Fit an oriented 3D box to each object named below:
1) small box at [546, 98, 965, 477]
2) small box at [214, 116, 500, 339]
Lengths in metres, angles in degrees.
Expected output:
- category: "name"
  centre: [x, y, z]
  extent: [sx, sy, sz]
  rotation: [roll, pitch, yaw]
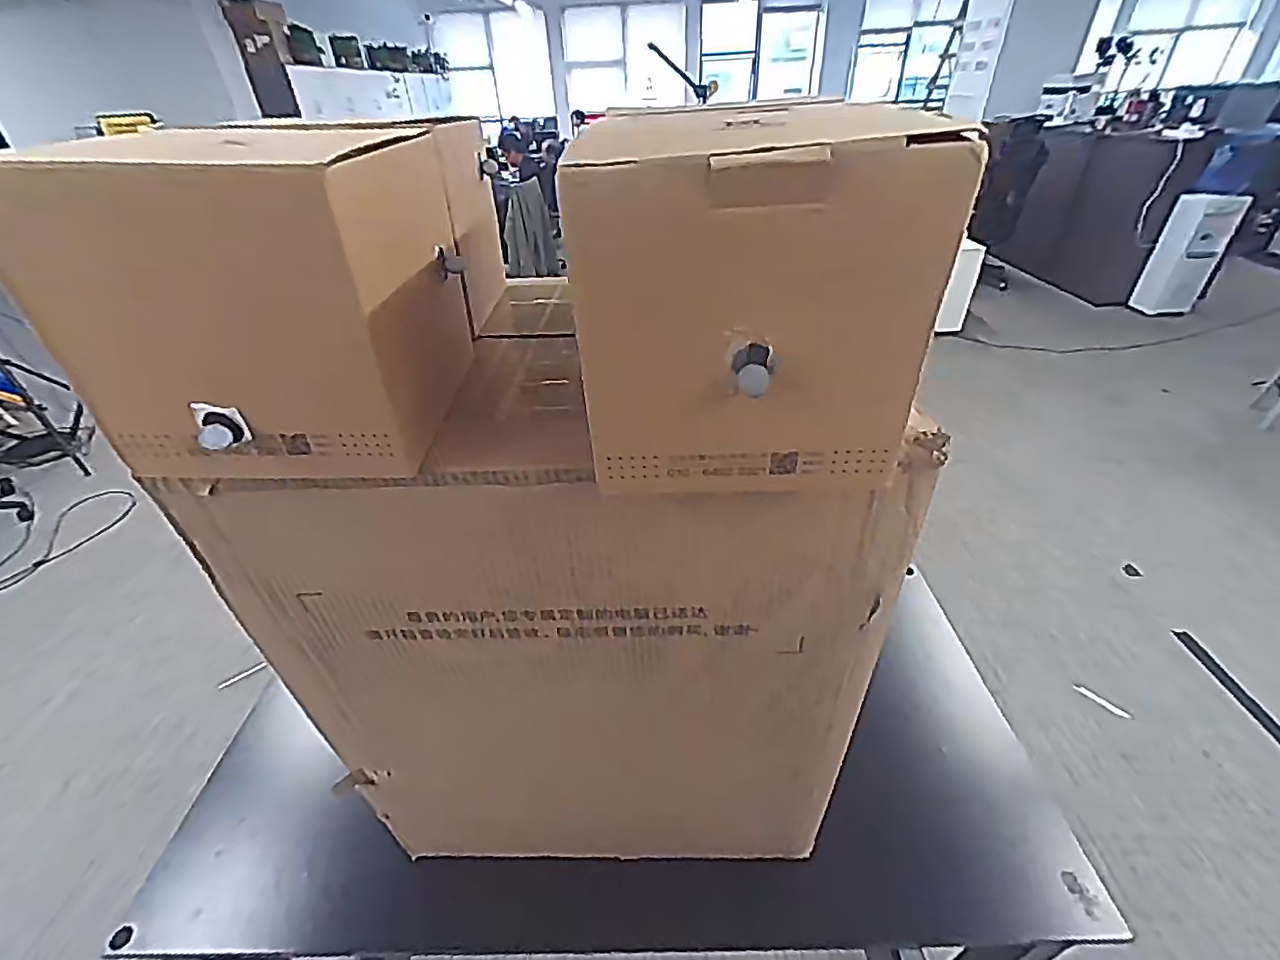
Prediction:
- category: "small box"
  centre: [0.052, -0.112, 0.322]
  extent: [0.168, 0.176, 0.179]
  rotation: [-2, 37, 4]
- category: "small box"
  centre: [-0.237, -0.242, 0.514]
  extent: [0.168, 0.176, 0.179]
  rotation: [-3, 34, 0]
